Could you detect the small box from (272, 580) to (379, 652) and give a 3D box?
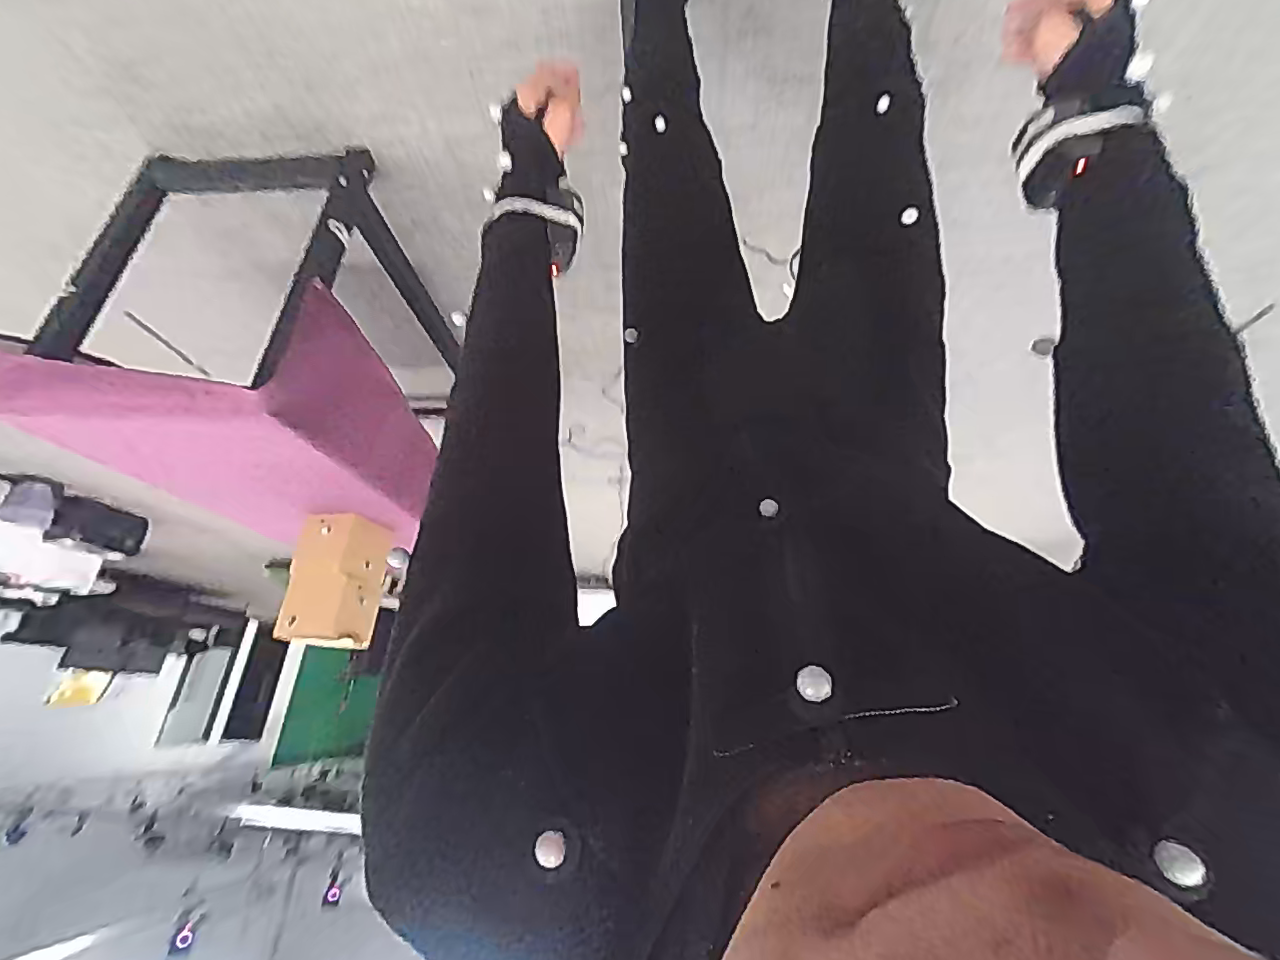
[{"bbox_3d":[-0.861,0.375,1.498,0.179,0.176,0.168,-1,156,9],"label":"small box"}]

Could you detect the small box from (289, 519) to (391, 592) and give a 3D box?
[{"bbox_3d":[-0.847,0.216,1.545,0.168,0.176,0.179,-3,154,14],"label":"small box"}]
